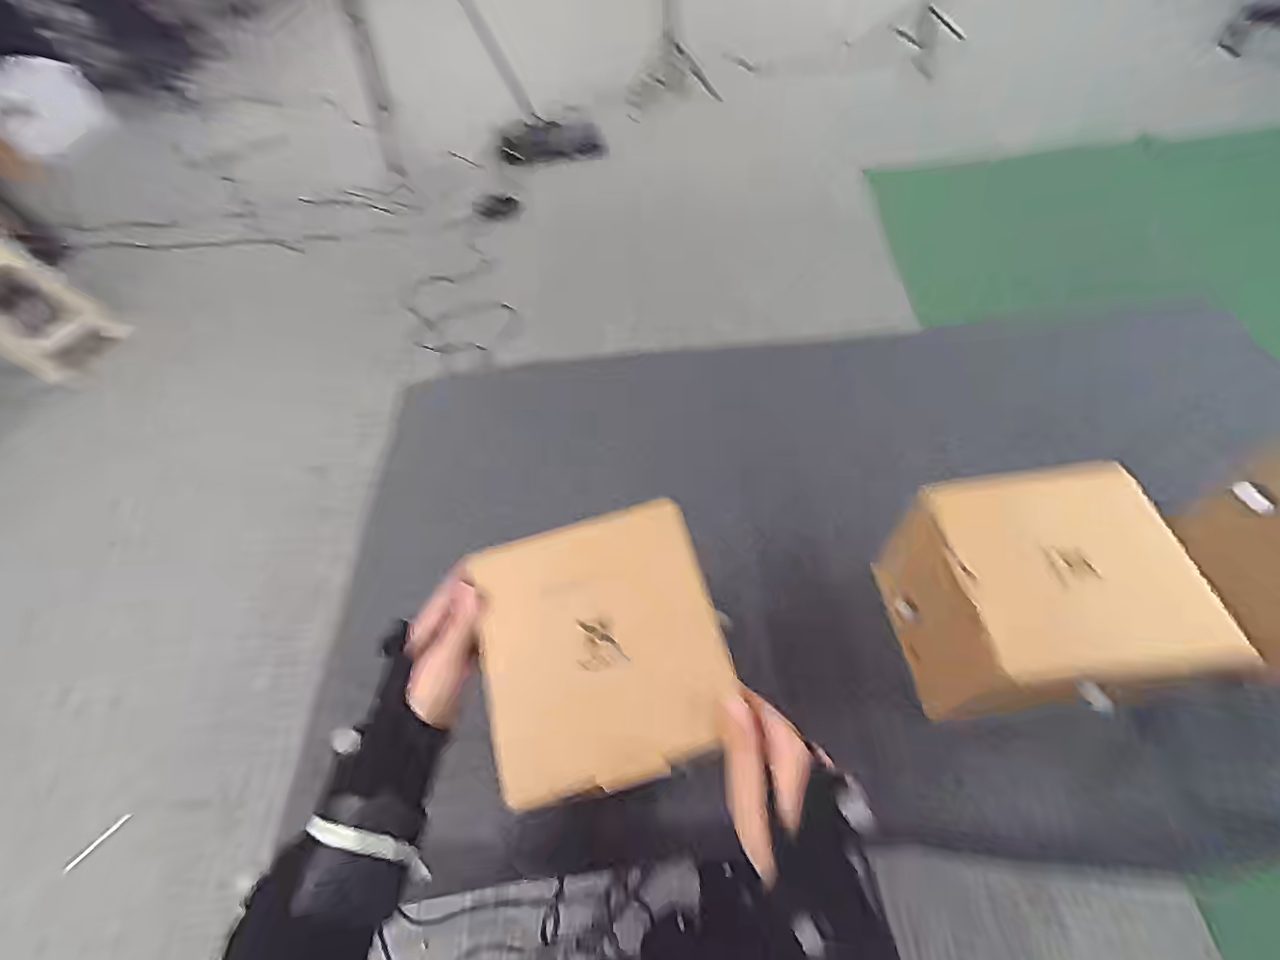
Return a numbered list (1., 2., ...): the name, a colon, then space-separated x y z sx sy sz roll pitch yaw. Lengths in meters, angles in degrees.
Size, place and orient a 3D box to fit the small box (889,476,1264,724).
1. small box: 0.357 0.116 0.492 0.179 0.176 0.168 -7 56 3
